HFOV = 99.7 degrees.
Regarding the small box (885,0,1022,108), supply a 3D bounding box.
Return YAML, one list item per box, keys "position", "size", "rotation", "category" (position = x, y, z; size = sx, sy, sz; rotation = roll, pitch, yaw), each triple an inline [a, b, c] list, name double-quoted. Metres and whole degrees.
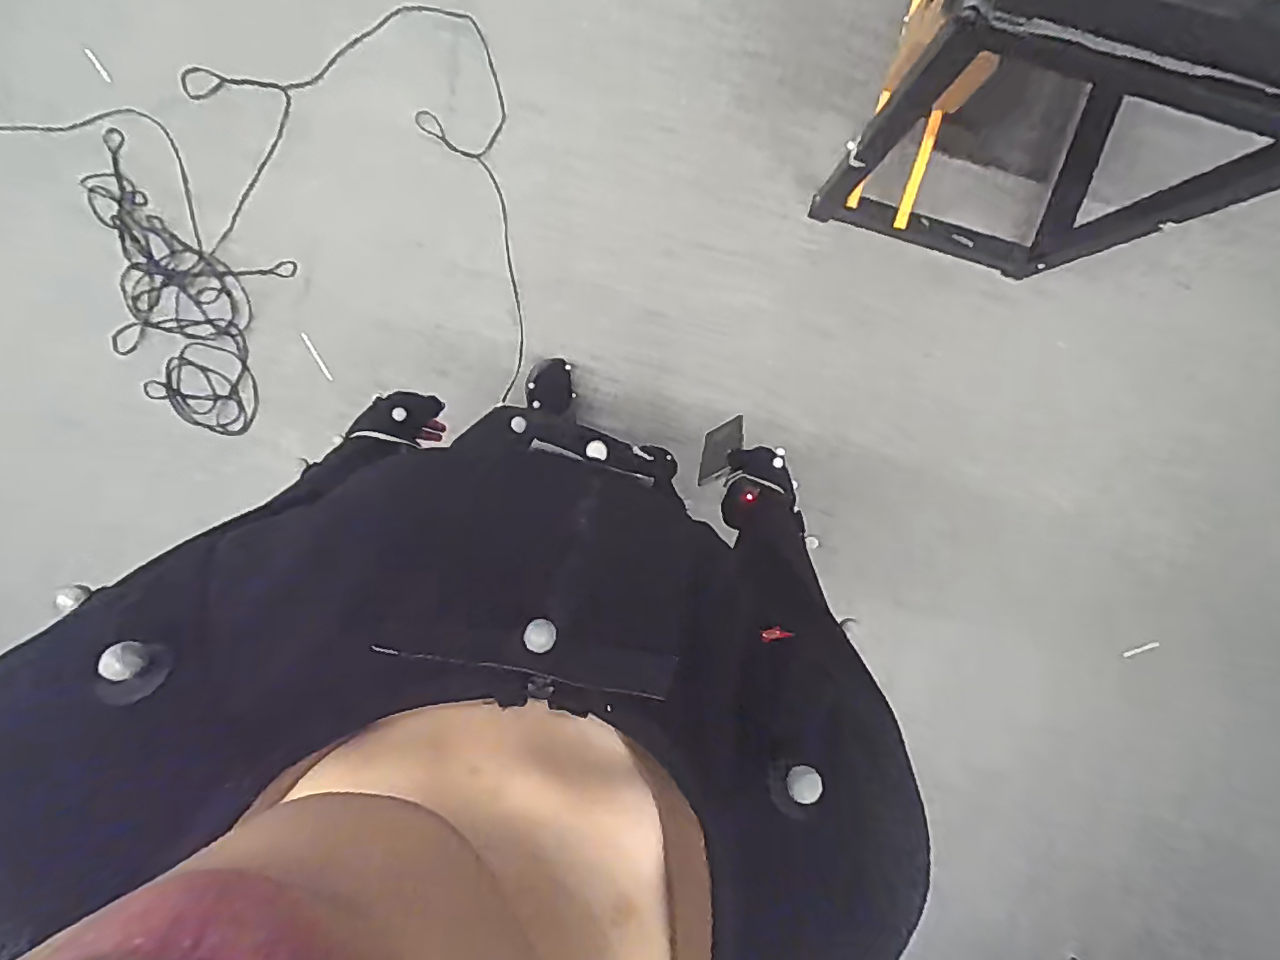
- position: [0.657, -0.937, 1.150]
  size: [0.179, 0.176, 0.168]
  rotation: [20, 98, -1]
  category: "small box"
